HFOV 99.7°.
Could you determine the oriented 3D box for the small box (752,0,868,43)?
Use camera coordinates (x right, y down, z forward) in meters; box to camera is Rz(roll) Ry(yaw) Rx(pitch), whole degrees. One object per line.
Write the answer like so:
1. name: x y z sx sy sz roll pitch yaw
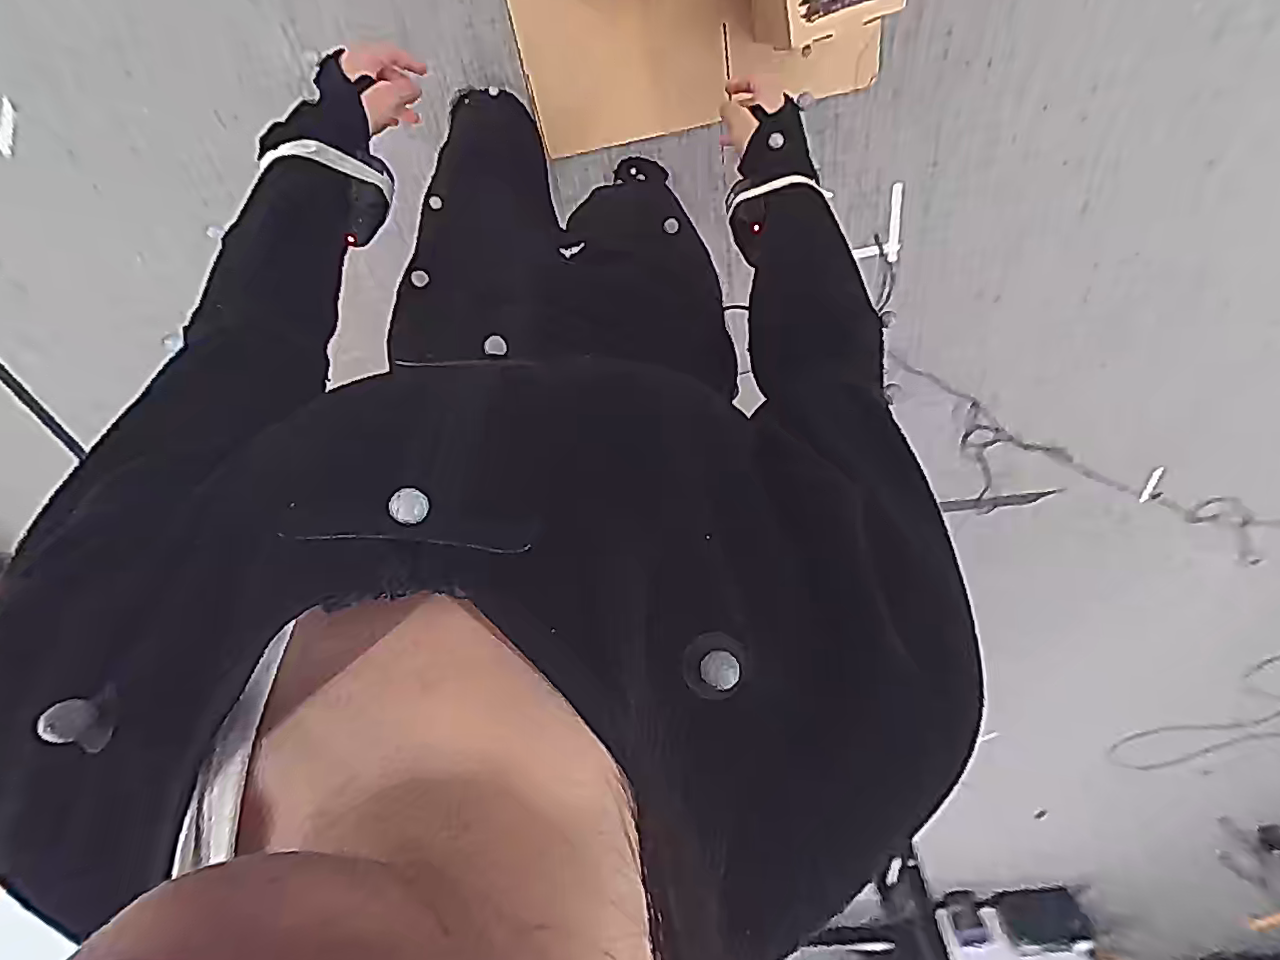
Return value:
1. small box: 0.283 -0.883 0.927 0.168 0.176 0.179 -12 127 10
